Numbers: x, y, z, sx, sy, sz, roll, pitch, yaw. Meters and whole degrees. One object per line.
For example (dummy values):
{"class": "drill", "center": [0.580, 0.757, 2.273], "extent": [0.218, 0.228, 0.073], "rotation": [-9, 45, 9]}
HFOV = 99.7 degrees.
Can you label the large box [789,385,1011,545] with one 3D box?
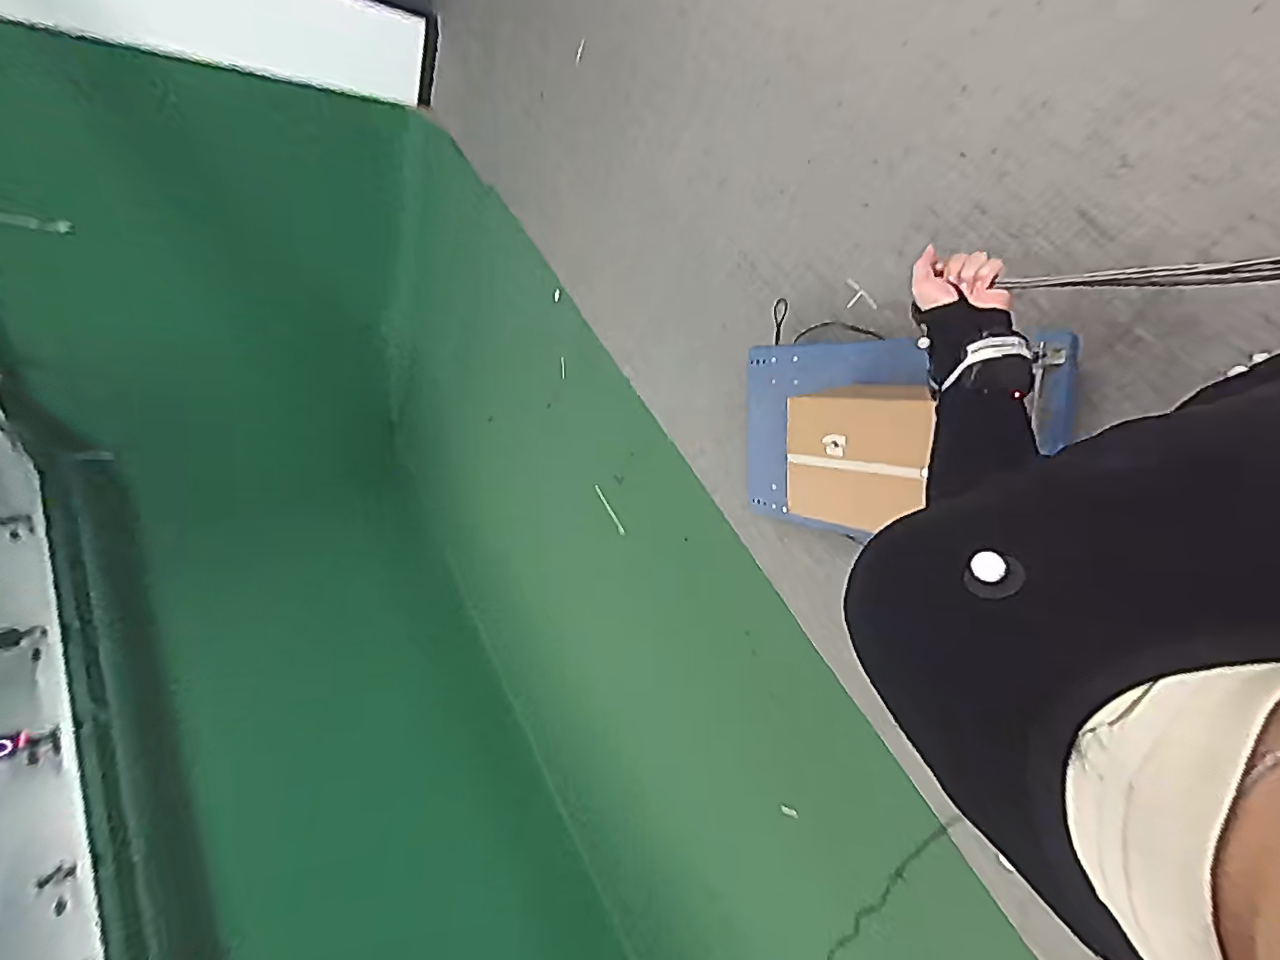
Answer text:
{"class": "large box", "center": [0.629, -0.064, 1.331], "extent": [0.408, 0.320, 0.320], "rotation": [13, 111, 49]}
